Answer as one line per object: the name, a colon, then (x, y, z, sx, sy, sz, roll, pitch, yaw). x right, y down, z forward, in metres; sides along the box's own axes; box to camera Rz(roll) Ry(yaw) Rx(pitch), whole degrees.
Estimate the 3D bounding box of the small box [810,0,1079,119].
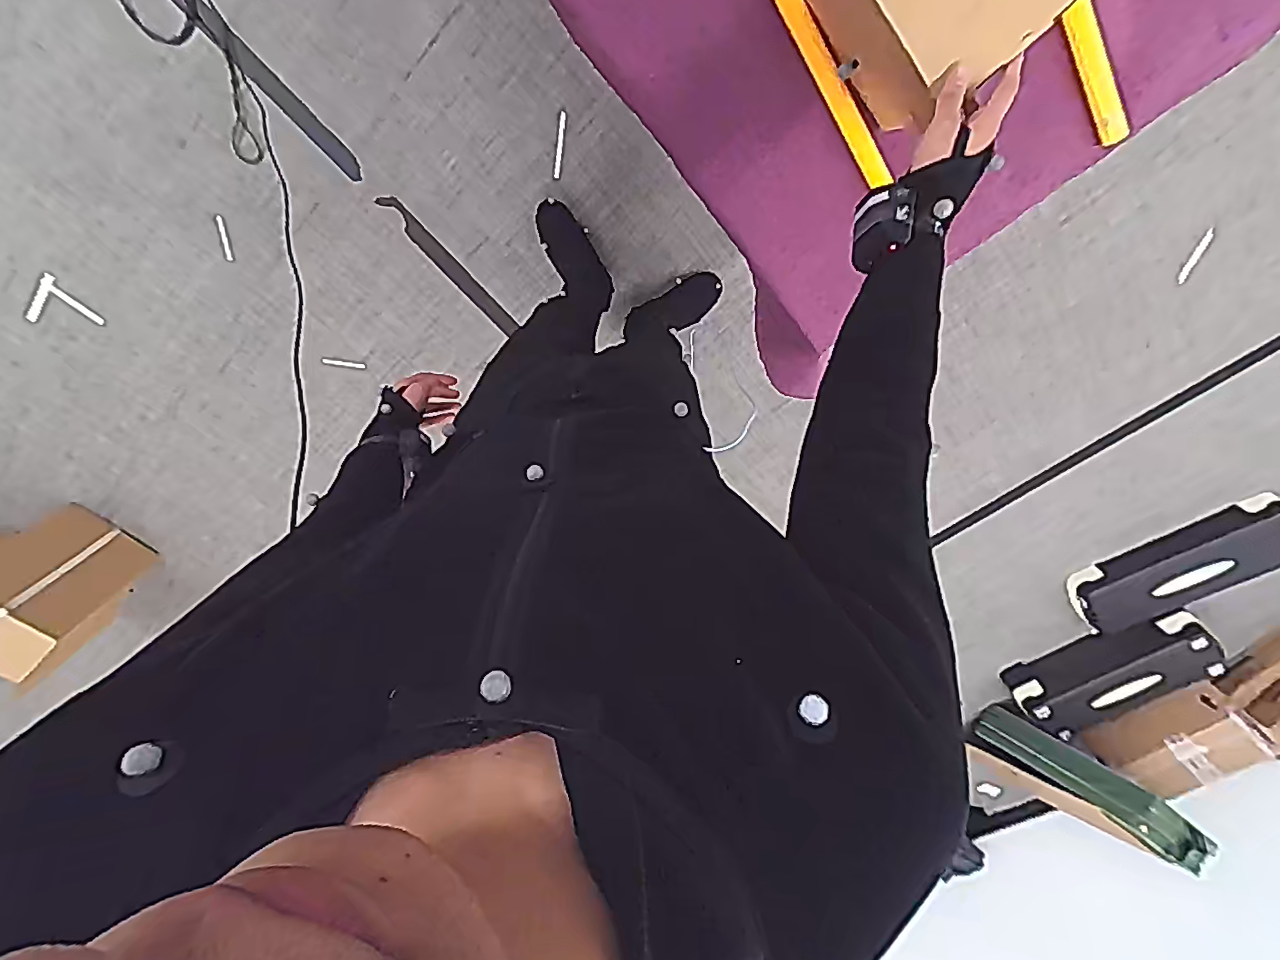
small box: (0.290, -0.485, 0.518, 0.168, 0.176, 0.179, -39, 112, 22)
